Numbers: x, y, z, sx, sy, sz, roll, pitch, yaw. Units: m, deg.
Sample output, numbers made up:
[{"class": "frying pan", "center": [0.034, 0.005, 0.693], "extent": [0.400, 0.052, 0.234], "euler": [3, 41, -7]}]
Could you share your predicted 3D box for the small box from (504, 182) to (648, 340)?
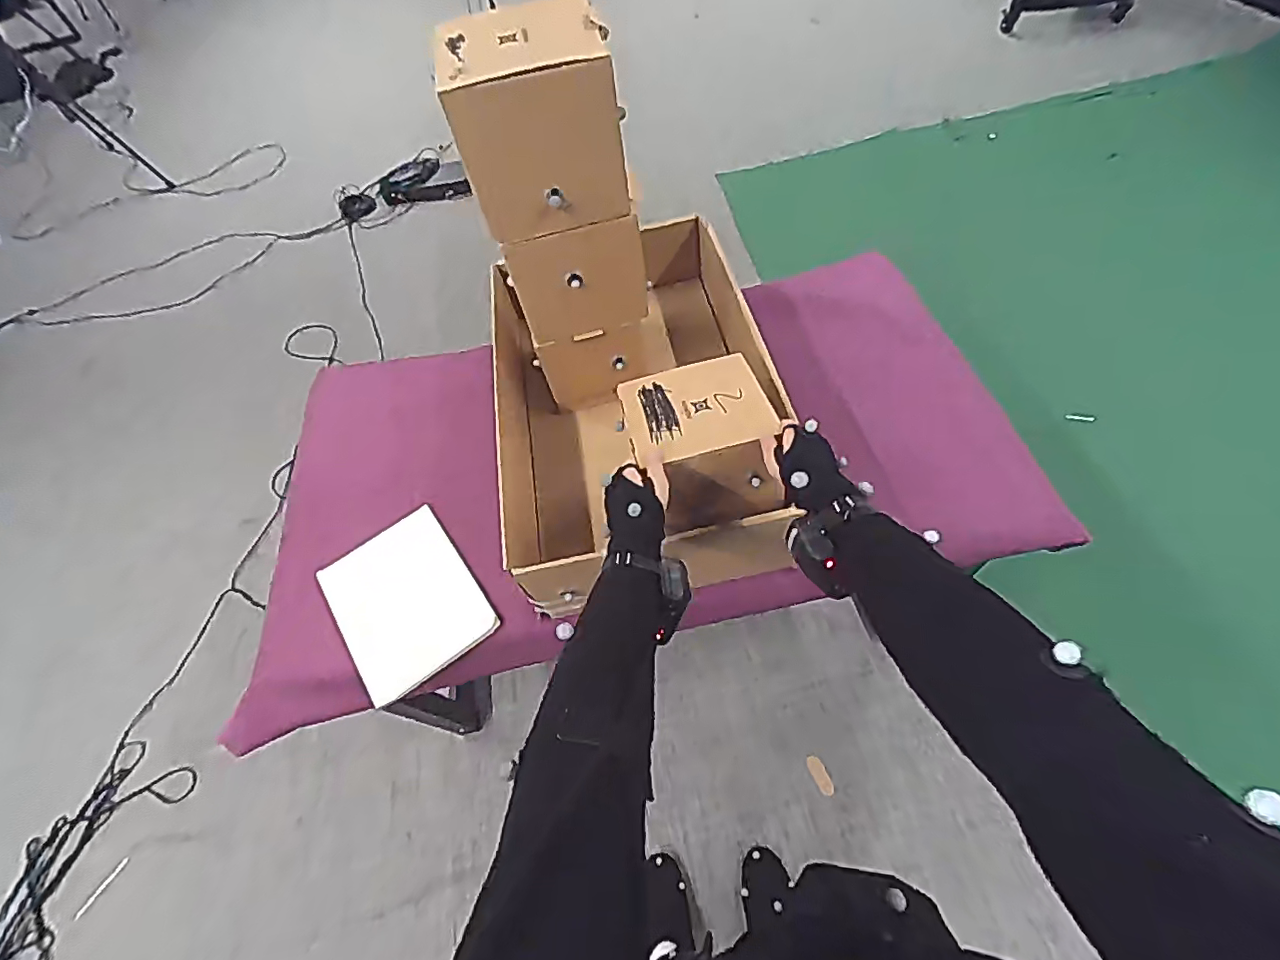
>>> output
[{"class": "small box", "center": [-0.089, -0.328, 0.768], "extent": [0.179, 0.176, 0.168], "euler": [-14, 58, -1]}]

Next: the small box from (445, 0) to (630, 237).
[{"class": "small box", "center": [-0.110, -0.415, 0.631], "extent": [0.179, 0.176, 0.168], "euler": [-12, 58, -1]}]
